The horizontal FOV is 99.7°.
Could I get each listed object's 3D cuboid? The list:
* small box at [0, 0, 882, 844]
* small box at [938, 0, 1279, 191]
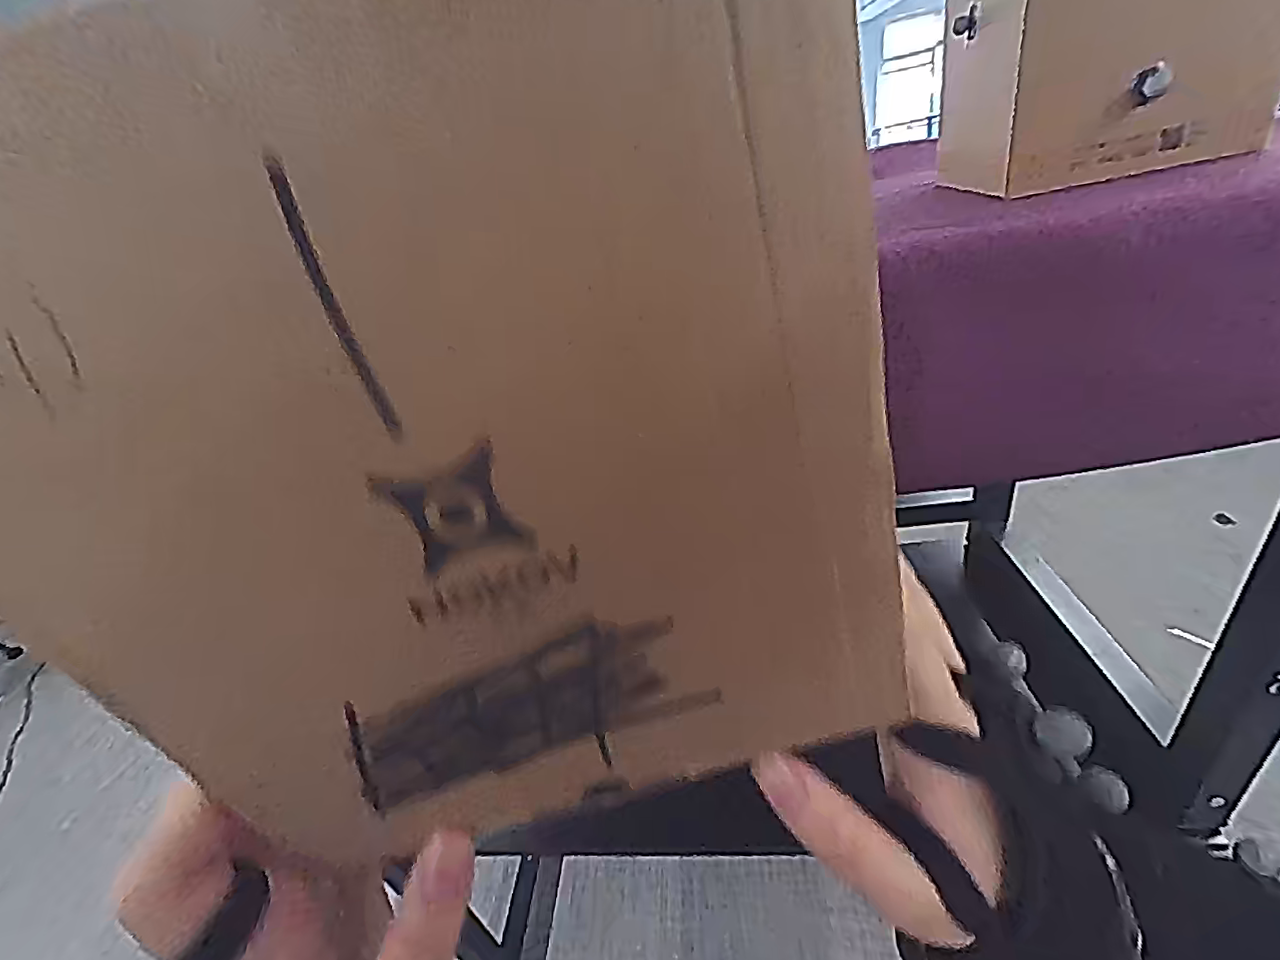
[{"bbox_3d":[-0.047,-0.036,0.169,0.168,0.179,0.176,-17,28,2],"label":"small box"},{"bbox_3d":[0.351,-0.337,0.426,0.168,0.176,0.179,-6,30,13],"label":"small box"}]
